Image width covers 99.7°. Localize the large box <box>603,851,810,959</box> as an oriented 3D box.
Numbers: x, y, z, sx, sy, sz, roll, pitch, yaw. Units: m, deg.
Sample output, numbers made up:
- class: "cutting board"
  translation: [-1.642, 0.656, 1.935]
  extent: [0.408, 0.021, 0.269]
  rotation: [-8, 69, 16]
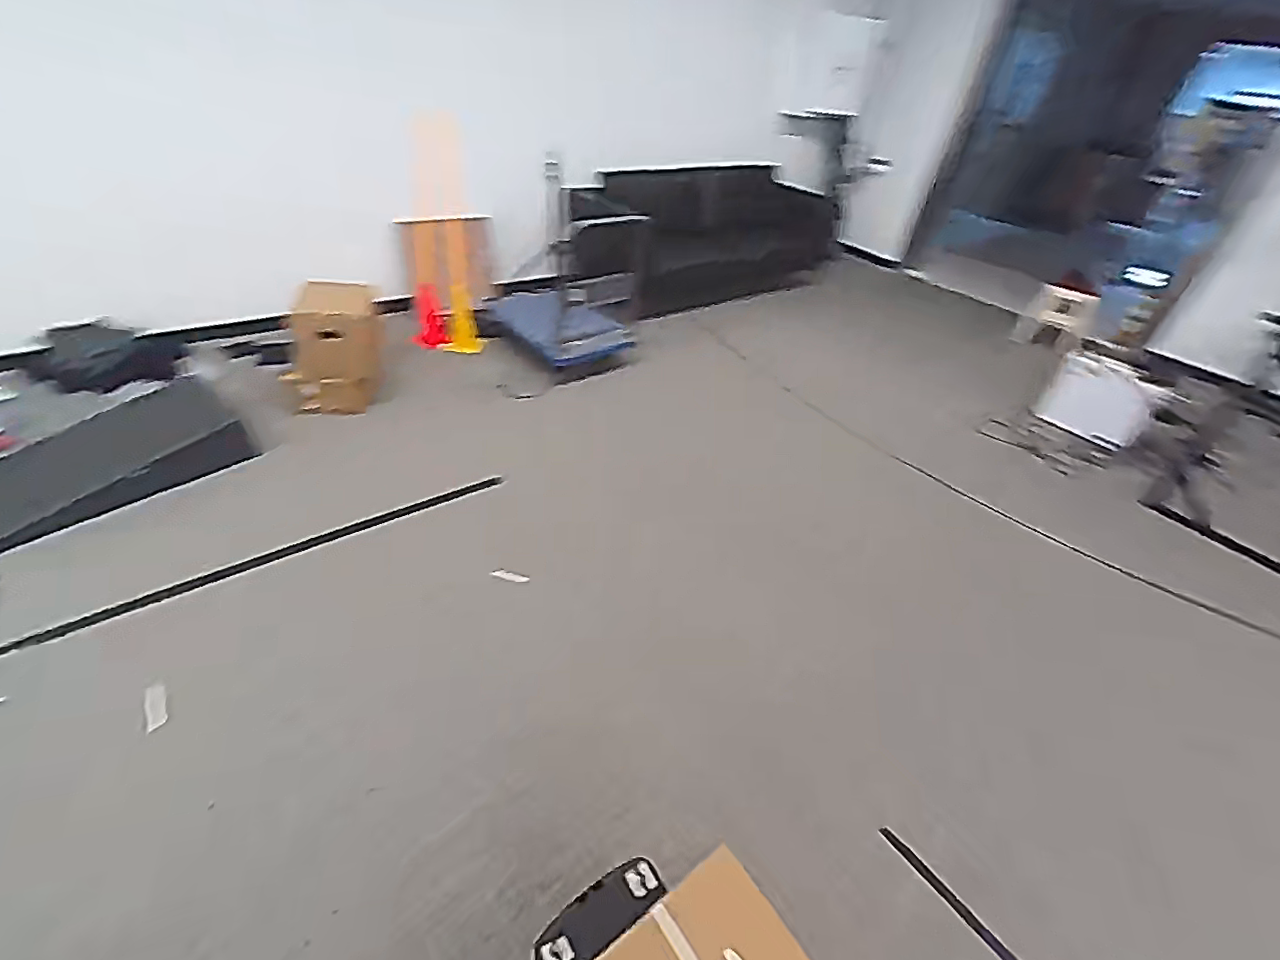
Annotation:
- class: "large box"
  translation: [0.134, 0.894, 0.811]
  extent: [0.320, 0.320, 0.408]
  rotation: [-20, 44, -30]
